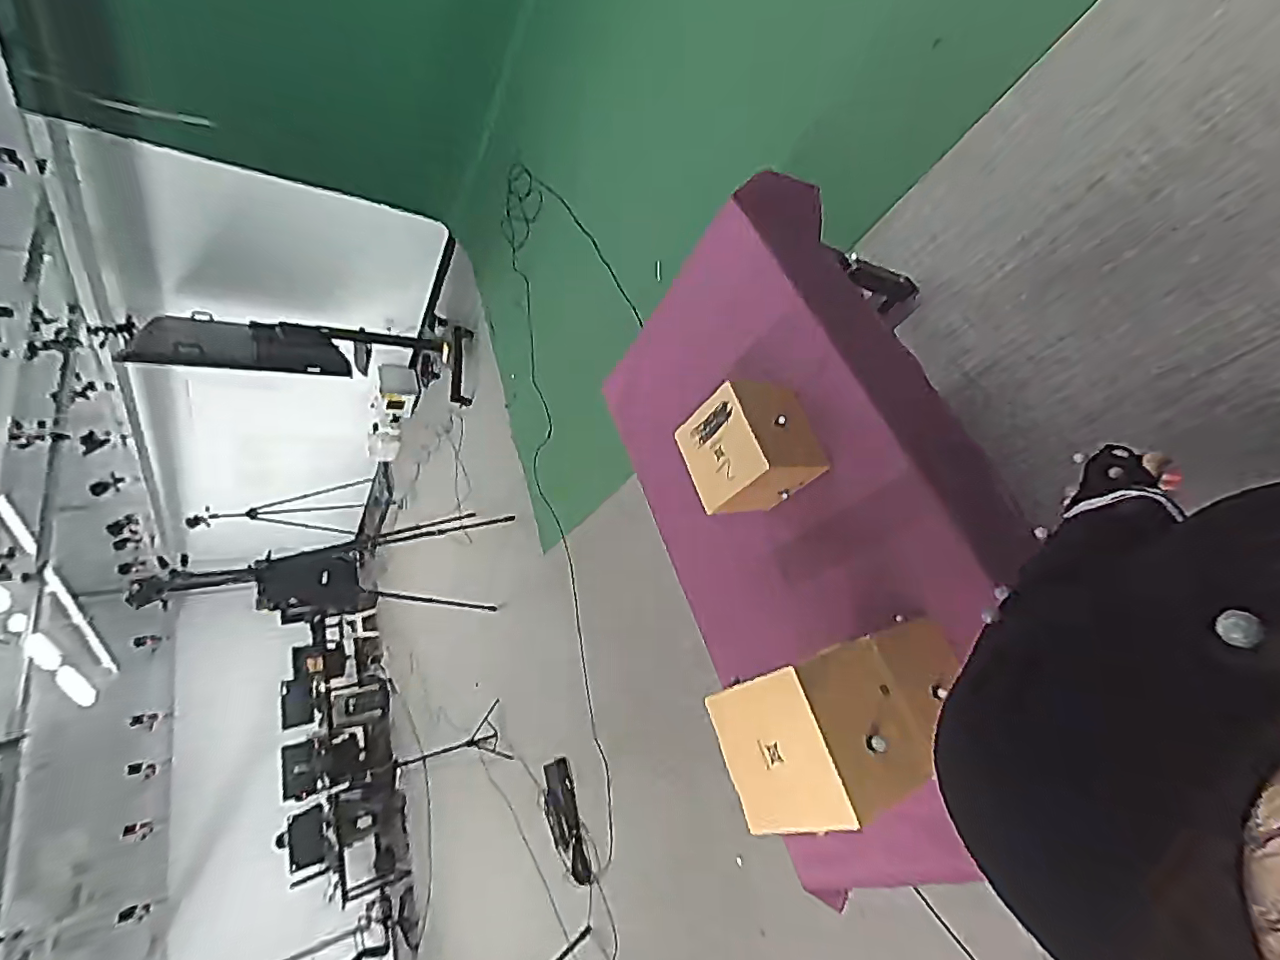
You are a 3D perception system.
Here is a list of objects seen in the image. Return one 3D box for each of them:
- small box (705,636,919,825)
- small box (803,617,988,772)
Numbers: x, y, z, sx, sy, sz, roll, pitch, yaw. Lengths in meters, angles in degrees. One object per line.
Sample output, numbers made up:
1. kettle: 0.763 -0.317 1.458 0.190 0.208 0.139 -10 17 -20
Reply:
1. small box: 0.220 0.313 0.689 0.179 0.176 0.168 -46 56 45
2. small box: 0.353 0.310 0.783 0.168 0.176 0.179 -46 56 44
